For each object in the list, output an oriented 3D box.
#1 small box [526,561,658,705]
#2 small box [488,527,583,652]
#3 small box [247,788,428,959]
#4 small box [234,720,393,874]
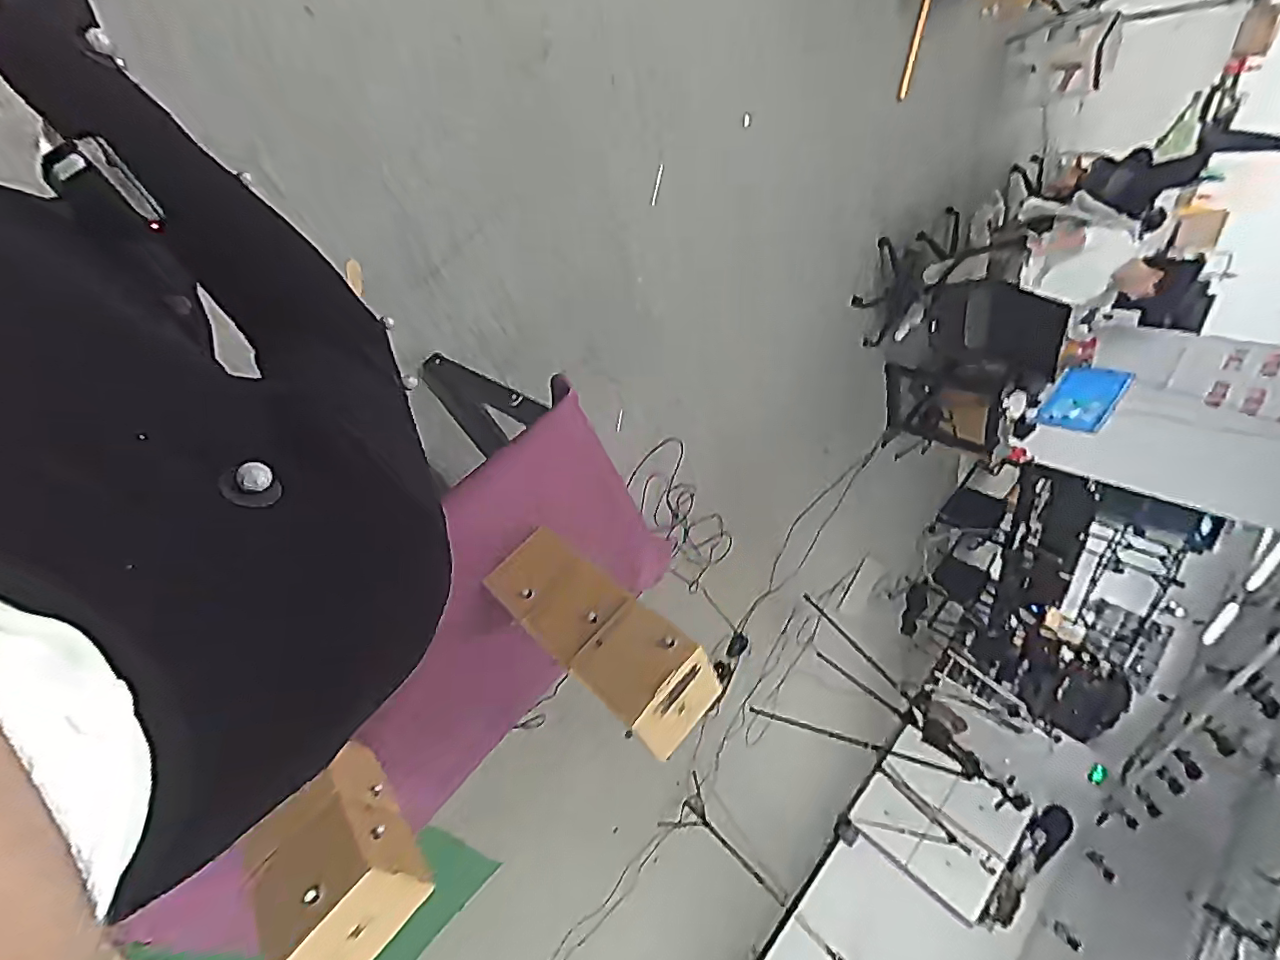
[{"bbox_3d":[-0.101,0.294,1.064,0.179,0.176,0.168,-44,135,-19],"label":"small box"},{"bbox_3d":[-0.205,0.238,1.175,0.179,0.176,0.168,-43,135,-18],"label":"small box"},{"bbox_3d":[-0.489,0.641,0.872,0.179,0.176,0.168,-44,134,-19],"label":"small box"},{"bbox_3d":[-0.595,0.581,0.980,0.179,0.176,0.168,-44,136,-18],"label":"small box"}]
